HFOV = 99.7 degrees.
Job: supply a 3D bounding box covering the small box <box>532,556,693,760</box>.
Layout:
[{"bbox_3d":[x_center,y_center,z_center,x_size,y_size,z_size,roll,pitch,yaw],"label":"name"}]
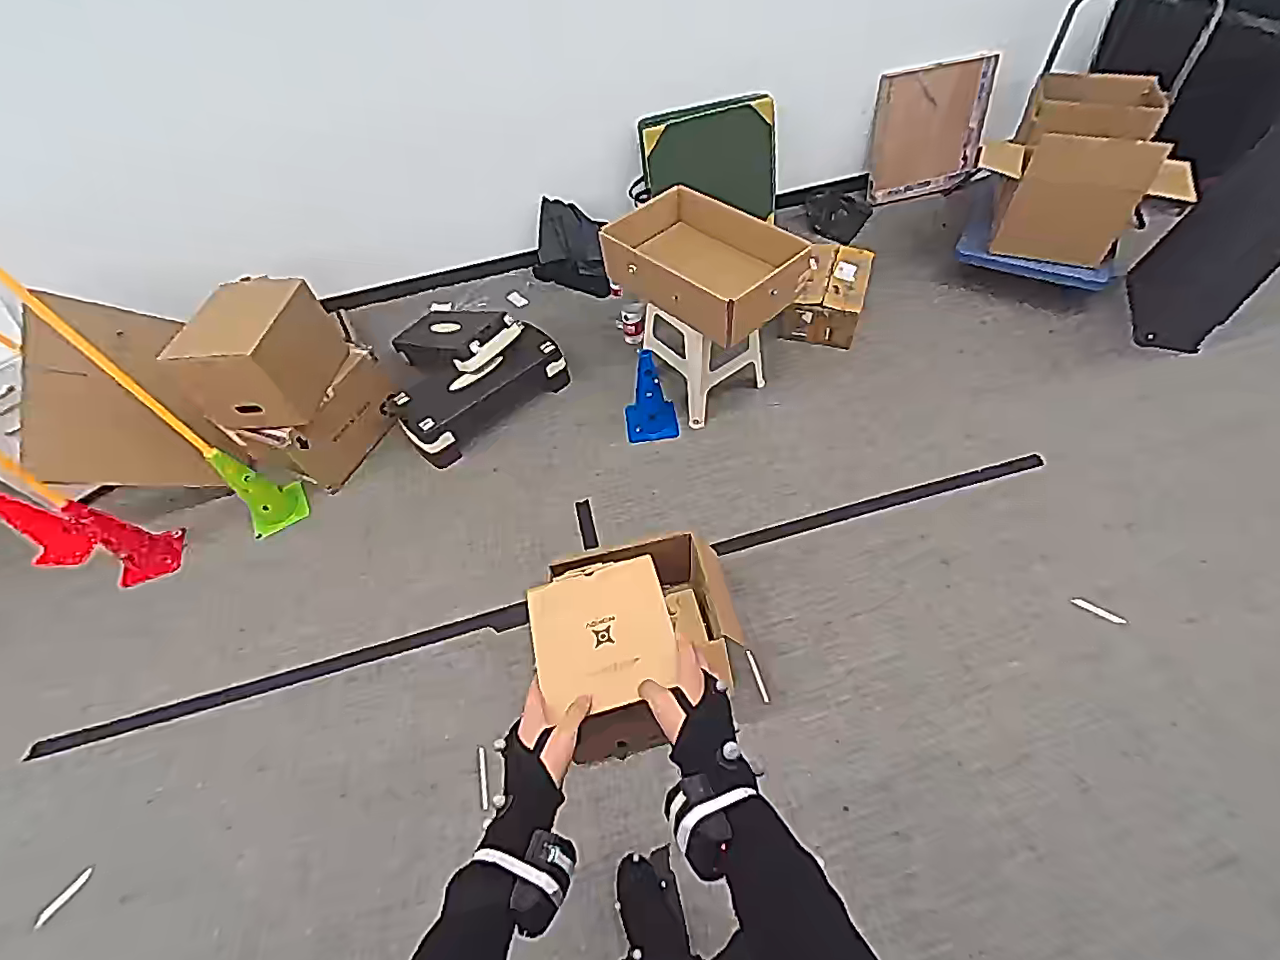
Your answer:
[{"bbox_3d":[-0.034,0.230,0.699,0.168,0.176,0.179,-15,48,-4],"label":"small box"}]
